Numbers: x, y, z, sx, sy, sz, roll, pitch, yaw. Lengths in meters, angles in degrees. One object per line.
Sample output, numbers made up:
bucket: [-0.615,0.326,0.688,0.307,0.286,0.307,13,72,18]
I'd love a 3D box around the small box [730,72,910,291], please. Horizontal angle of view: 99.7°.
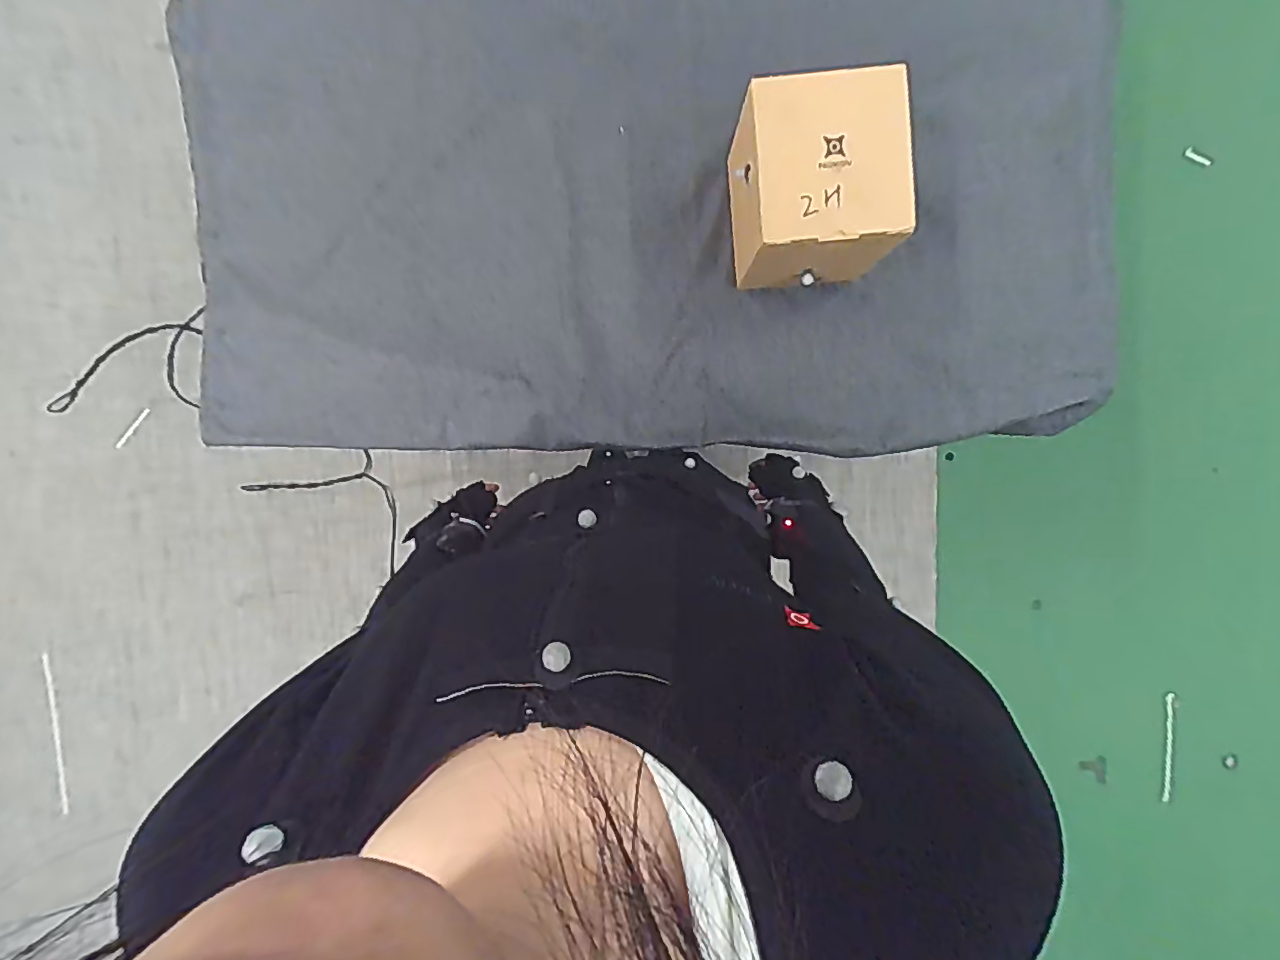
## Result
small box: [0.207,-0.350,0.664,0.168,0.176,0.179,-5,93,2]
